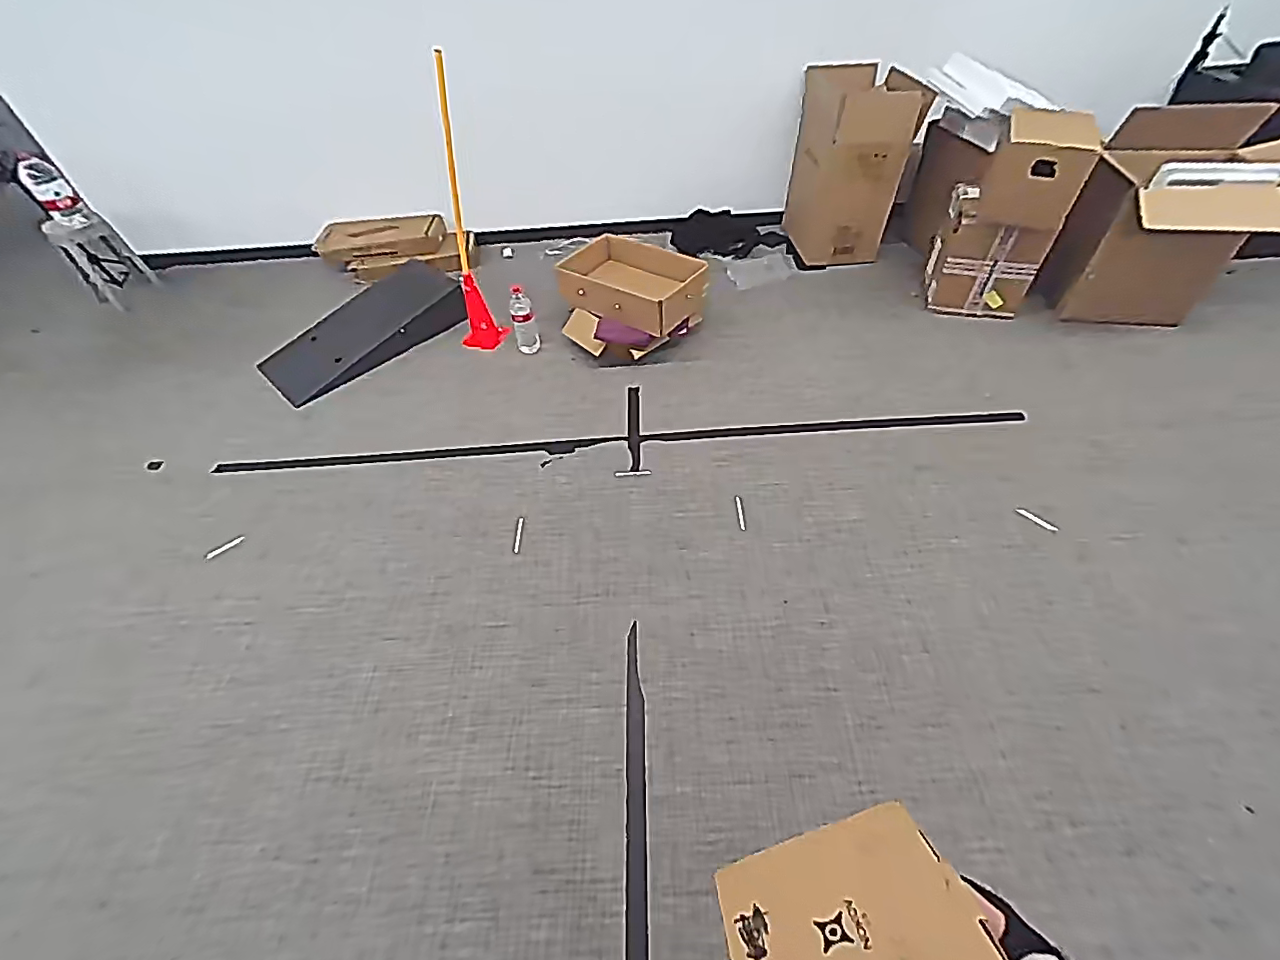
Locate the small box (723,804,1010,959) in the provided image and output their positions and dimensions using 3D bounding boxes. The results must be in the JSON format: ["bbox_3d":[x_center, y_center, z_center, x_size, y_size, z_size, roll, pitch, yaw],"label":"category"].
[{"bbox_3d":[0.184,0.402,0.412,0.179,0.176,0.168,-22,10,2],"label":"small box"}]
